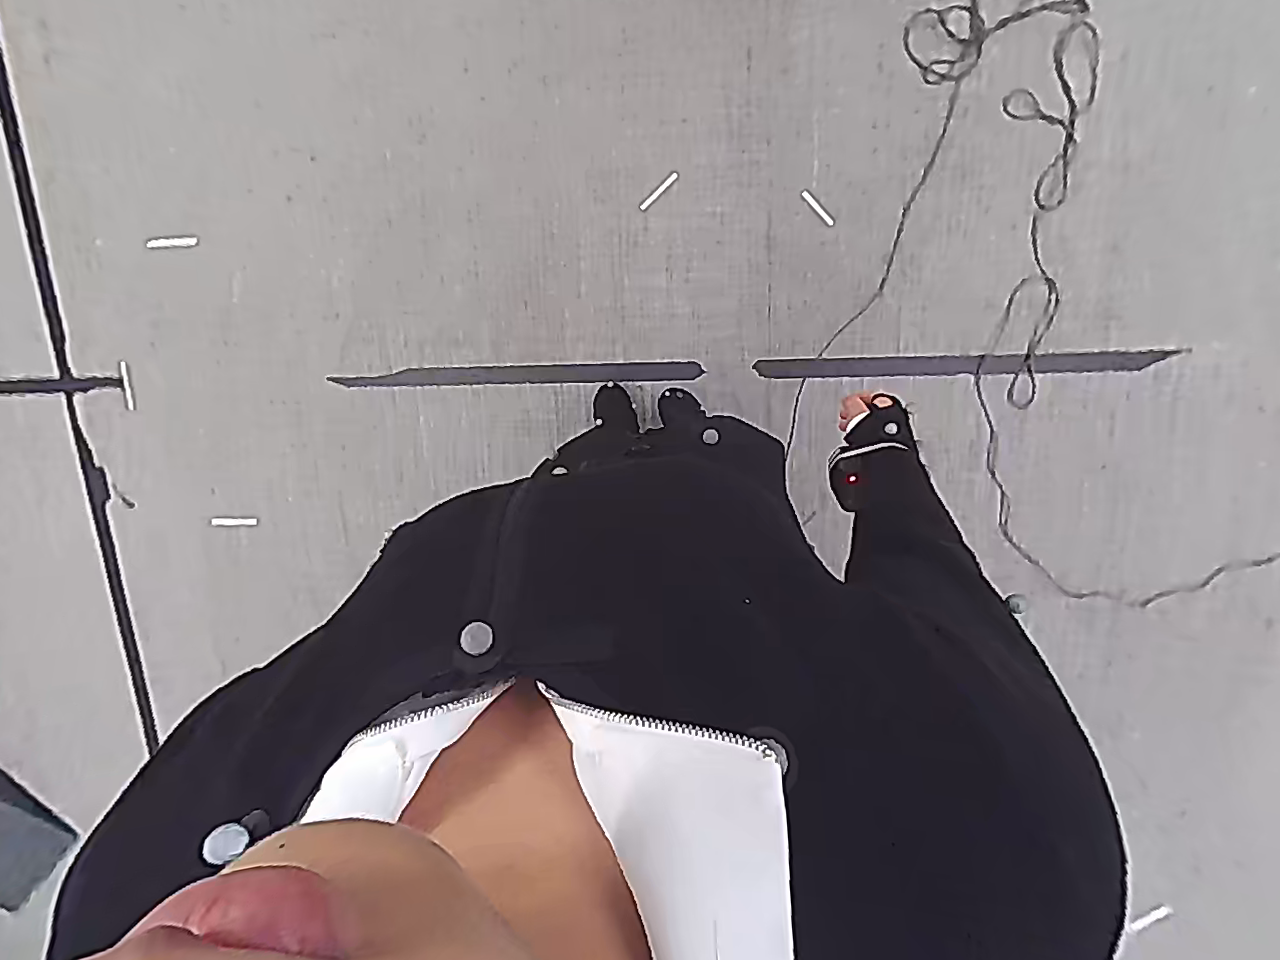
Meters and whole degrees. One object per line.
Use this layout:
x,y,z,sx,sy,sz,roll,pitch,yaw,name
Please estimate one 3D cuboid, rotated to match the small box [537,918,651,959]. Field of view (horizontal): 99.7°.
-0.074,0.808,0.814,0.179,0.176,0.168,0,100,6,small box
